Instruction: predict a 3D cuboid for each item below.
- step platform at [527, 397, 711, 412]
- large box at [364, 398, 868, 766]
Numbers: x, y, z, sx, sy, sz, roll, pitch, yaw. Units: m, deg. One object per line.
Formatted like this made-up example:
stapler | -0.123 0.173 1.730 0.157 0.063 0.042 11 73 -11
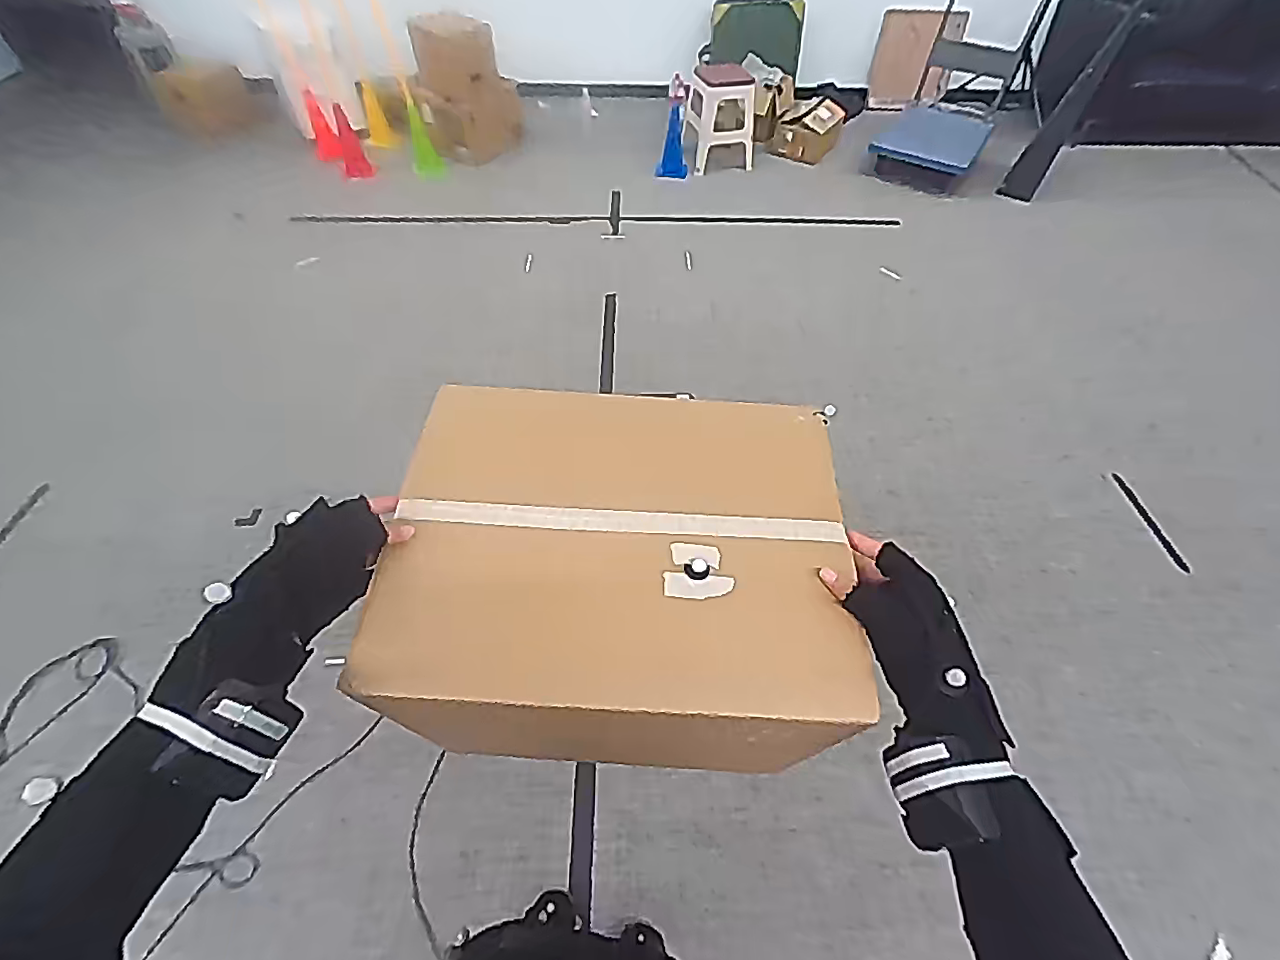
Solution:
step platform | -0.083 -0.126 1.861 0.684 0.204 0.286 -1 52 -3
large box | -0.019 0.131 0.625 0.408 0.320 0.320 4 56 0
